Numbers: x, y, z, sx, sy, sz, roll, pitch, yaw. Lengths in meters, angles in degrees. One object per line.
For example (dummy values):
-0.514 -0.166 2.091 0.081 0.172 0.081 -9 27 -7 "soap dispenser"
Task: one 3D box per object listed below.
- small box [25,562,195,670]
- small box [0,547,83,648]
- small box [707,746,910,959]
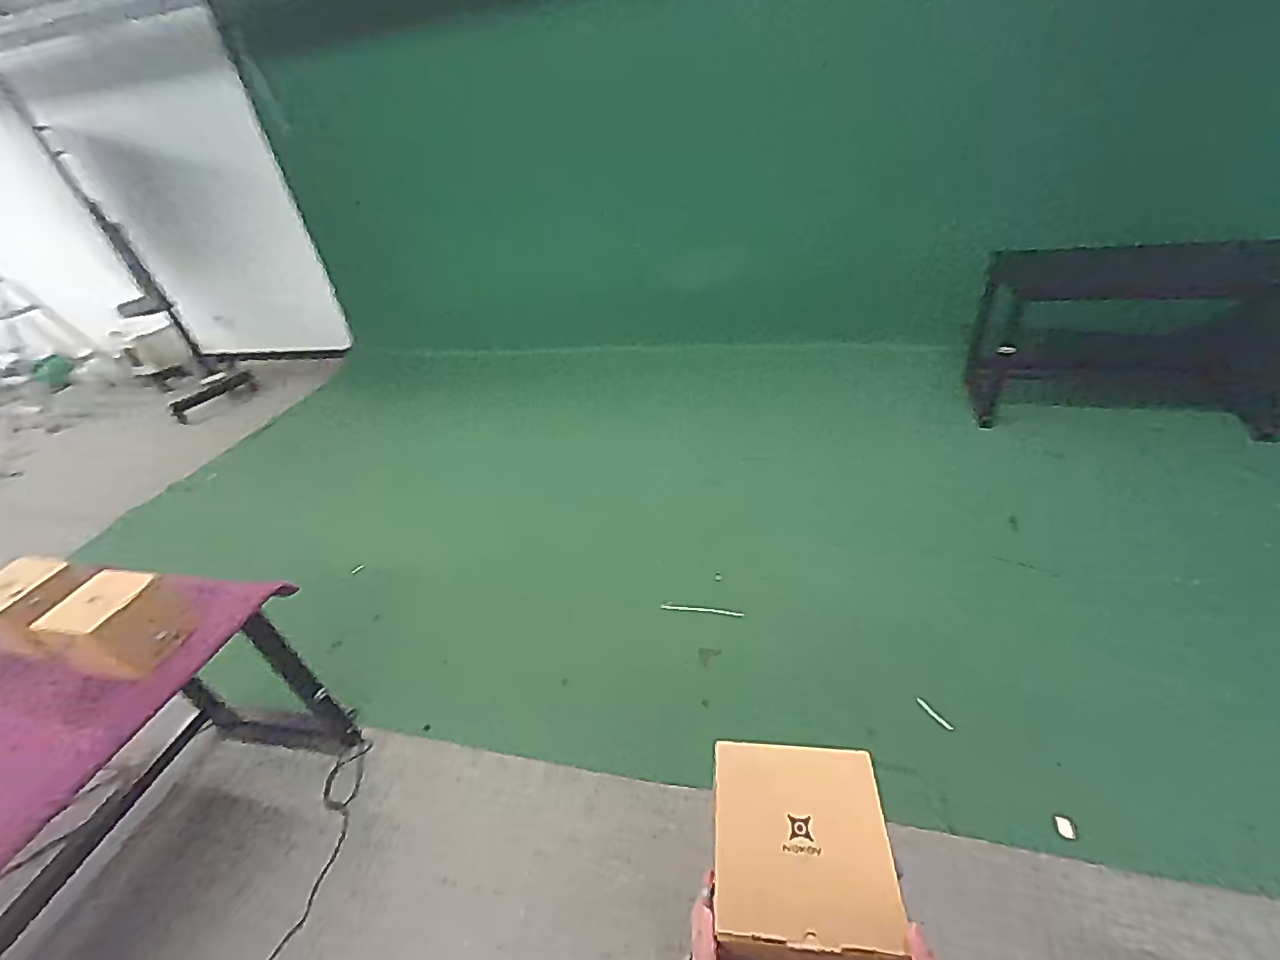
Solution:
-1.179 0.306 1.217 0.179 0.176 0.168 3 40 13 "small box"
-1.472 0.283 1.301 0.179 0.176 0.168 4 40 15 "small box"
0.156 0.413 0.571 0.168 0.176 0.179 1 38 6 "small box"
